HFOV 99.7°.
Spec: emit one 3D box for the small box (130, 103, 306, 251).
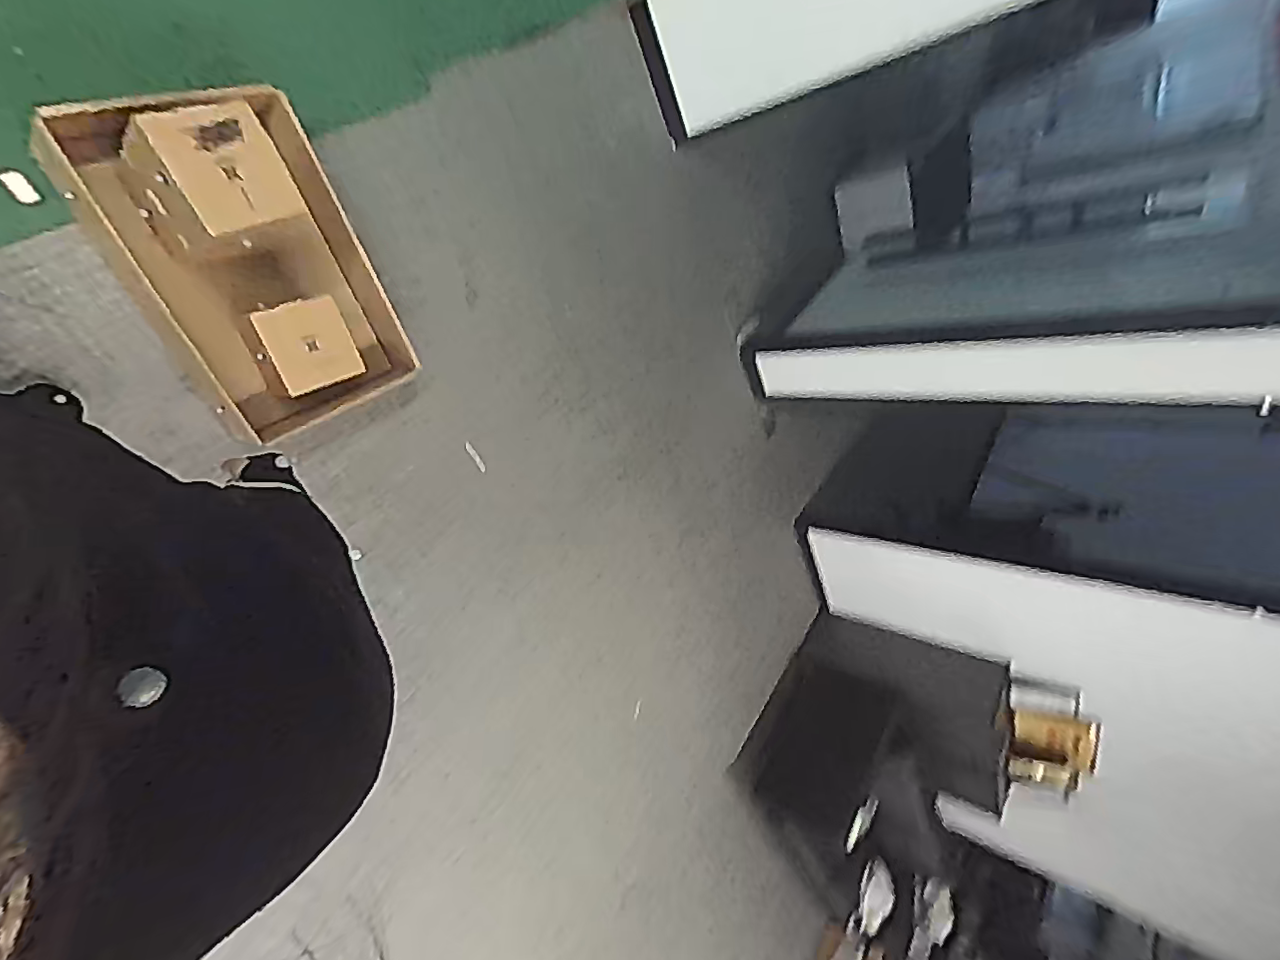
[{"bbox_3d":[-0.735,-0.521,0.943,0.168,0.176,0.179,-42,126,-35],"label":"small box"}]
